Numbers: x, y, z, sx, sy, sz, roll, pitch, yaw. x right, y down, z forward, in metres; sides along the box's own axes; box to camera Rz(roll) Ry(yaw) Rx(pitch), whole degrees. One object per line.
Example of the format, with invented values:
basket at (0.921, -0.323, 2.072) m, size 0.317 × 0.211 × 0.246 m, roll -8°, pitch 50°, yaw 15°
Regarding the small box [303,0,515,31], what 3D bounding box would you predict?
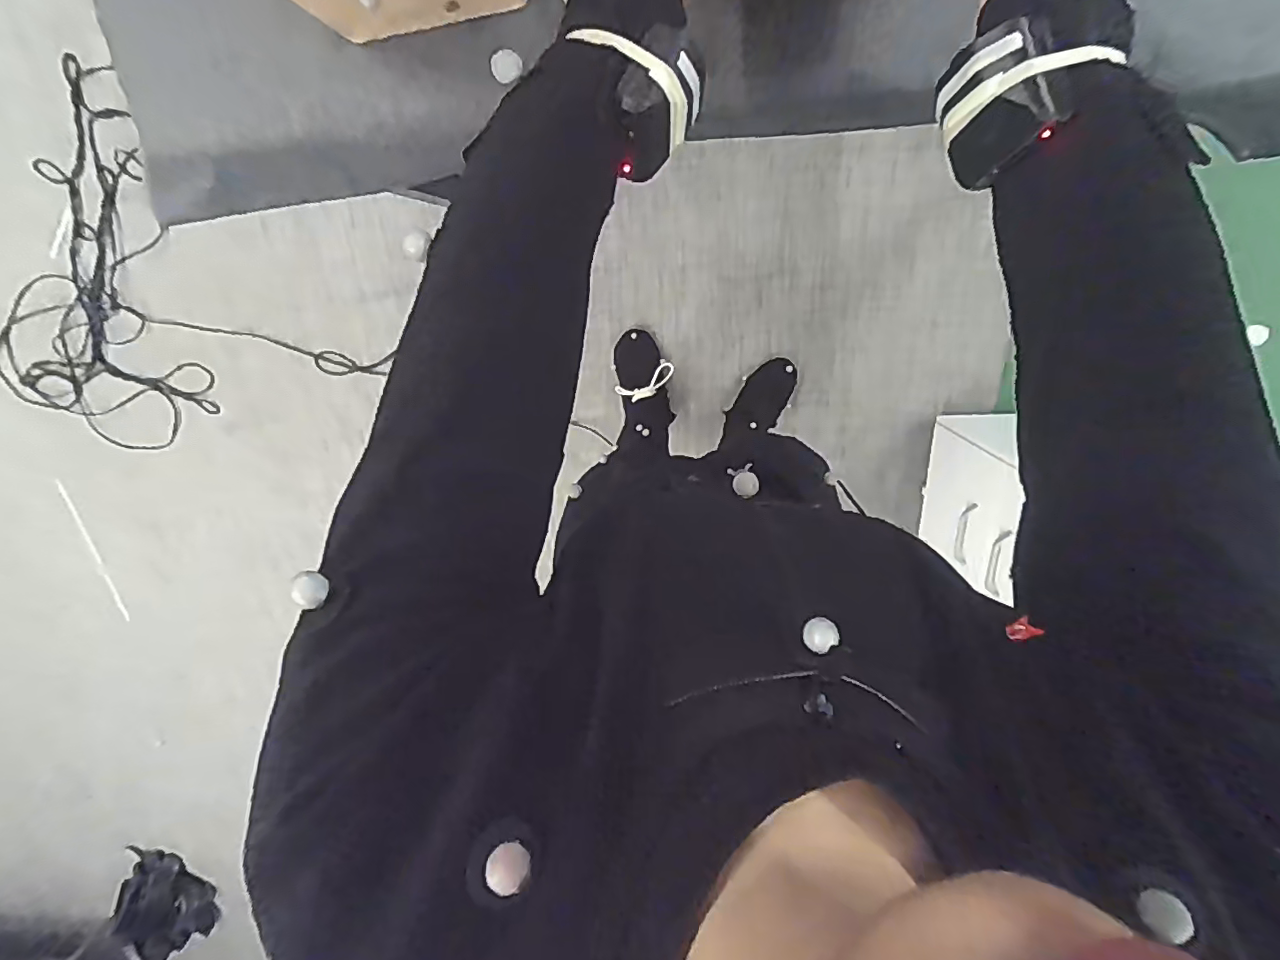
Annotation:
small box at (-0.197, -0.454, 0.377) m, size 0.168 × 0.176 × 0.179 m, roll -7°, pitch 110°, yaw 6°
